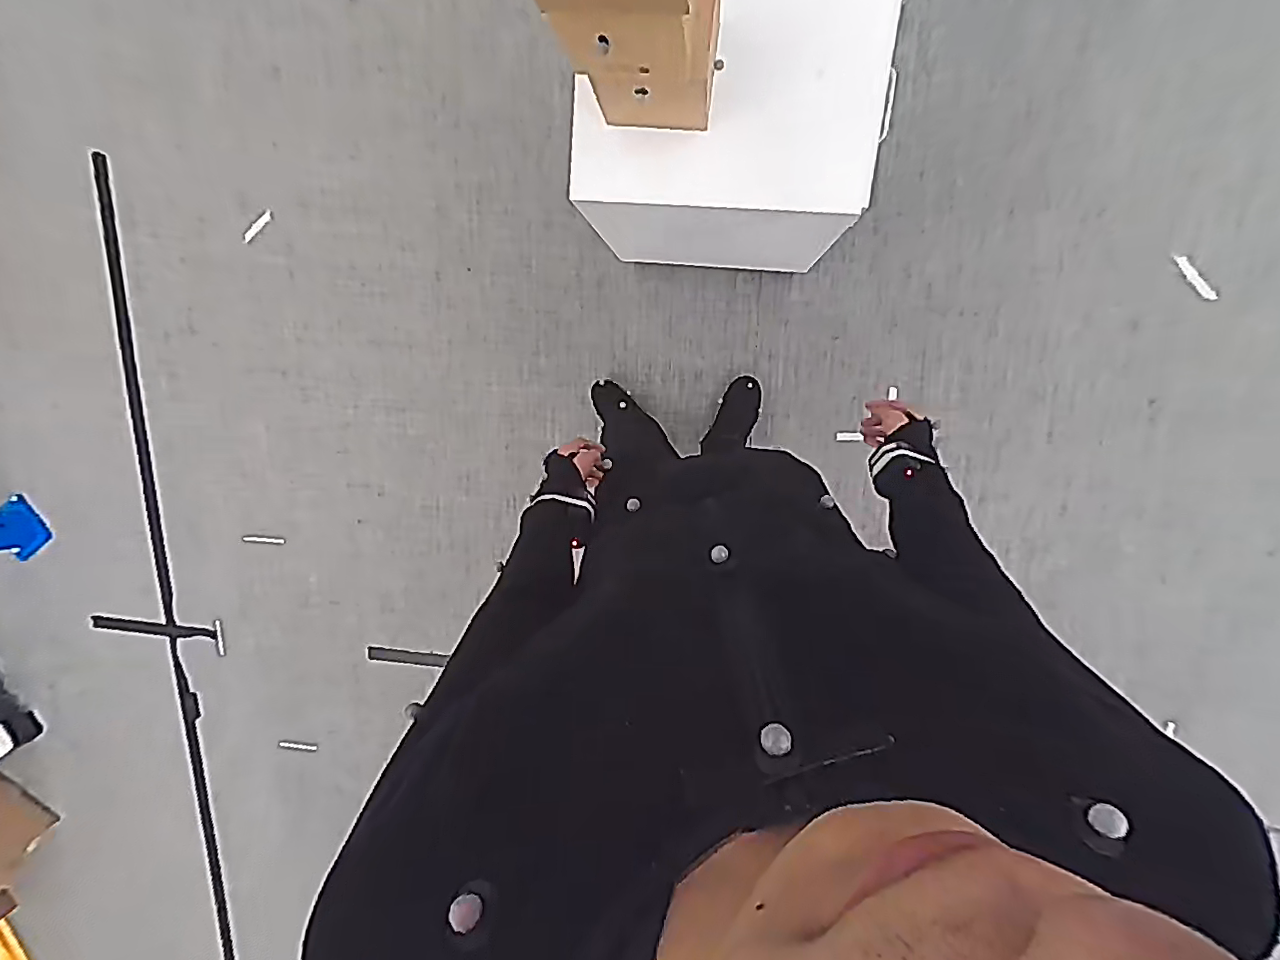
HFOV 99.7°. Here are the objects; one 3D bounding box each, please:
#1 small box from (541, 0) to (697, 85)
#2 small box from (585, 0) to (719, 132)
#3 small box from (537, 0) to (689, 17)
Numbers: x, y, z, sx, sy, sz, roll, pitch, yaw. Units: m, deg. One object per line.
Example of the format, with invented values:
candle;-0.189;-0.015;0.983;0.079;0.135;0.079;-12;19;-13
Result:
small box;-0.014;-0.633;0.675;0.168;0.176;0.179;9;102;6
small box;0.024;-0.662;0.831;0.179;0.176;0.168;7;102;5
small box;-0.037;-0.588;0.518;0.179;0.176;0.168;6;102;6
